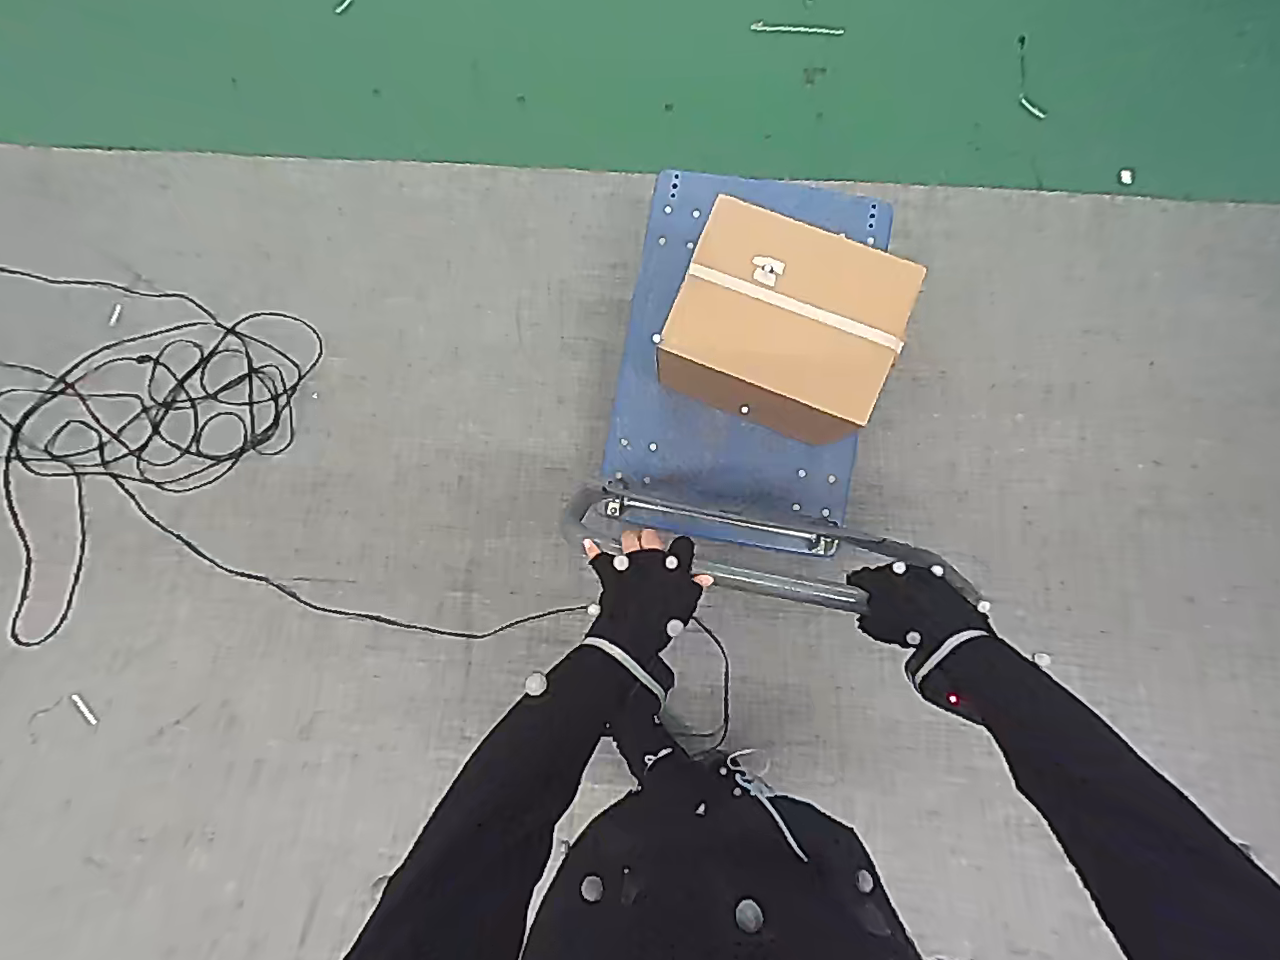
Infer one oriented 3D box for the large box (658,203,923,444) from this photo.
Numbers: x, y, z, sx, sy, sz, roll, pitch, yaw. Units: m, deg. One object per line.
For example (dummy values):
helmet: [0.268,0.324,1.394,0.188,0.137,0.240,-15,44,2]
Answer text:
large box: [0.283,-0.296,1.128,0.408,0.320,0.320,22,88,5]
